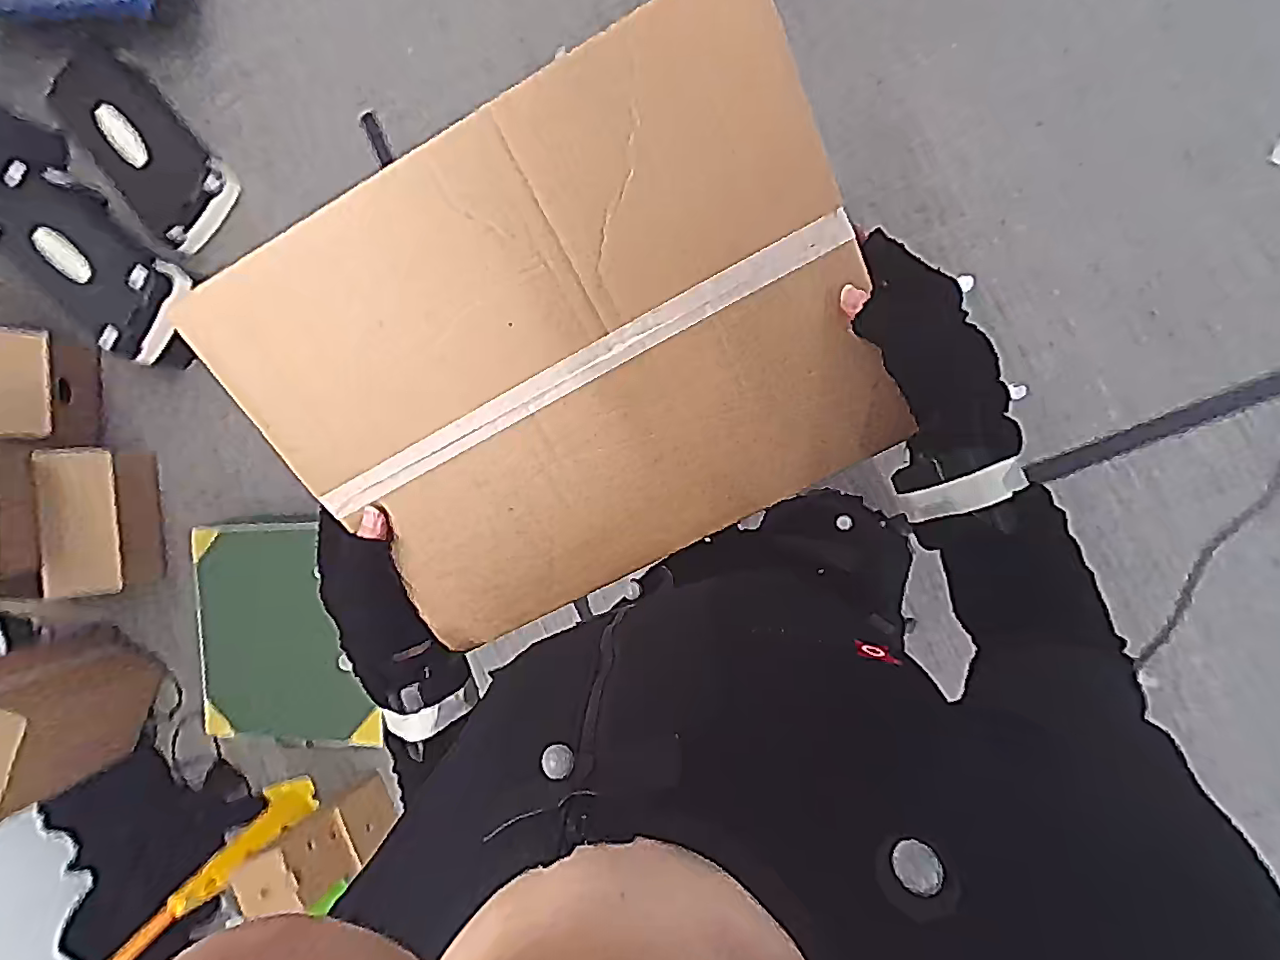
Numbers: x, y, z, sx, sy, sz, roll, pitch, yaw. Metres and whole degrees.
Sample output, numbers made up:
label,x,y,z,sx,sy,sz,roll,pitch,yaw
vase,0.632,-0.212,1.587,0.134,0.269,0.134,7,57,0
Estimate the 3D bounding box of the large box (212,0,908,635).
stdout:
label,x,y,z,sx,sy,sz,roll,pitch,yaw
large box,-0.049,-0.132,0.516,0.408,0.320,0.320,-26,111,7
